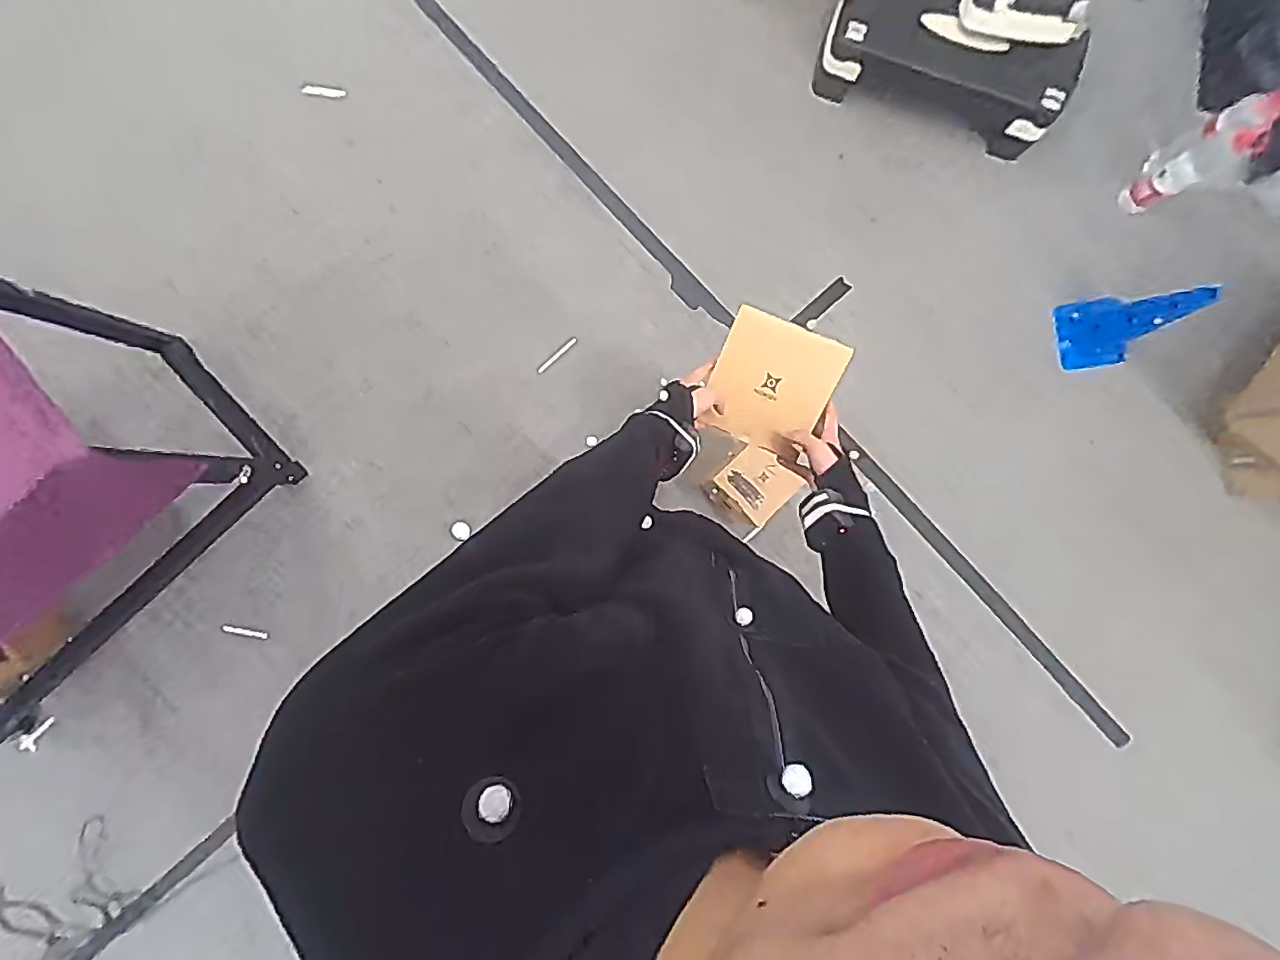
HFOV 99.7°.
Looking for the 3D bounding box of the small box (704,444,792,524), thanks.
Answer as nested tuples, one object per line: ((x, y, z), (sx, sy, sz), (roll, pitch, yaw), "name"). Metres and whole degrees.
((0.302, 0.005, 1.562), (0.168, 0.176, 0.179), (44, 91, 1), "small box")

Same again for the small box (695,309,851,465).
((0.198, -0.153, 0.836), (0.168, 0.176, 0.179), (23, 113, 4), "small box")
